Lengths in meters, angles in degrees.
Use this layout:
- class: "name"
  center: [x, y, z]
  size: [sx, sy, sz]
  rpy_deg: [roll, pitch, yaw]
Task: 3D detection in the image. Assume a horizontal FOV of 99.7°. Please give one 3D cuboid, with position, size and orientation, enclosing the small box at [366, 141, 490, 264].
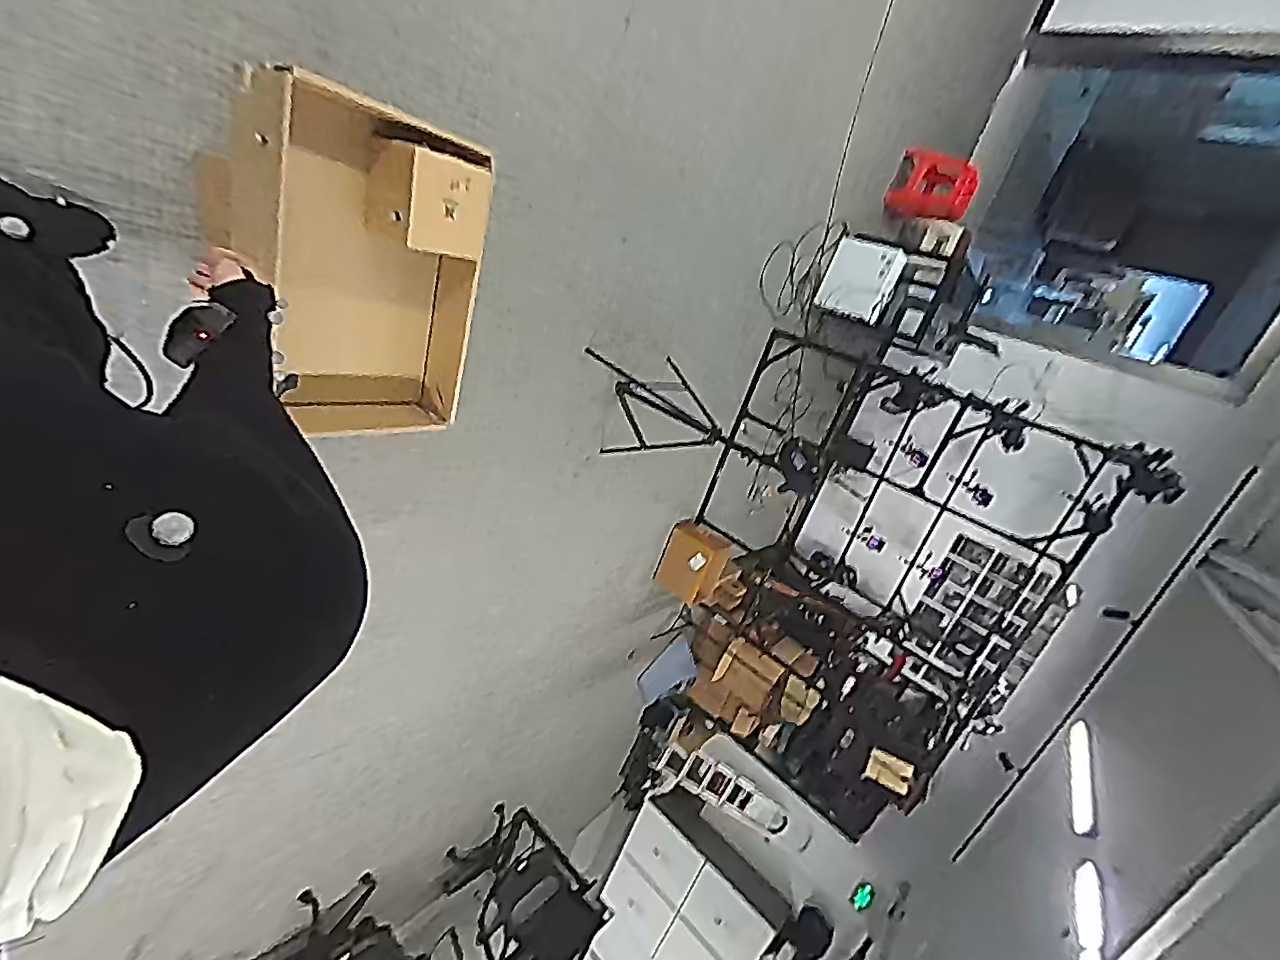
- class: "small box"
  center: [-0.435, -0.559, 1.097]
  size: [0.168, 0.176, 0.179]
  rpy_deg: [-14, 127, -51]
